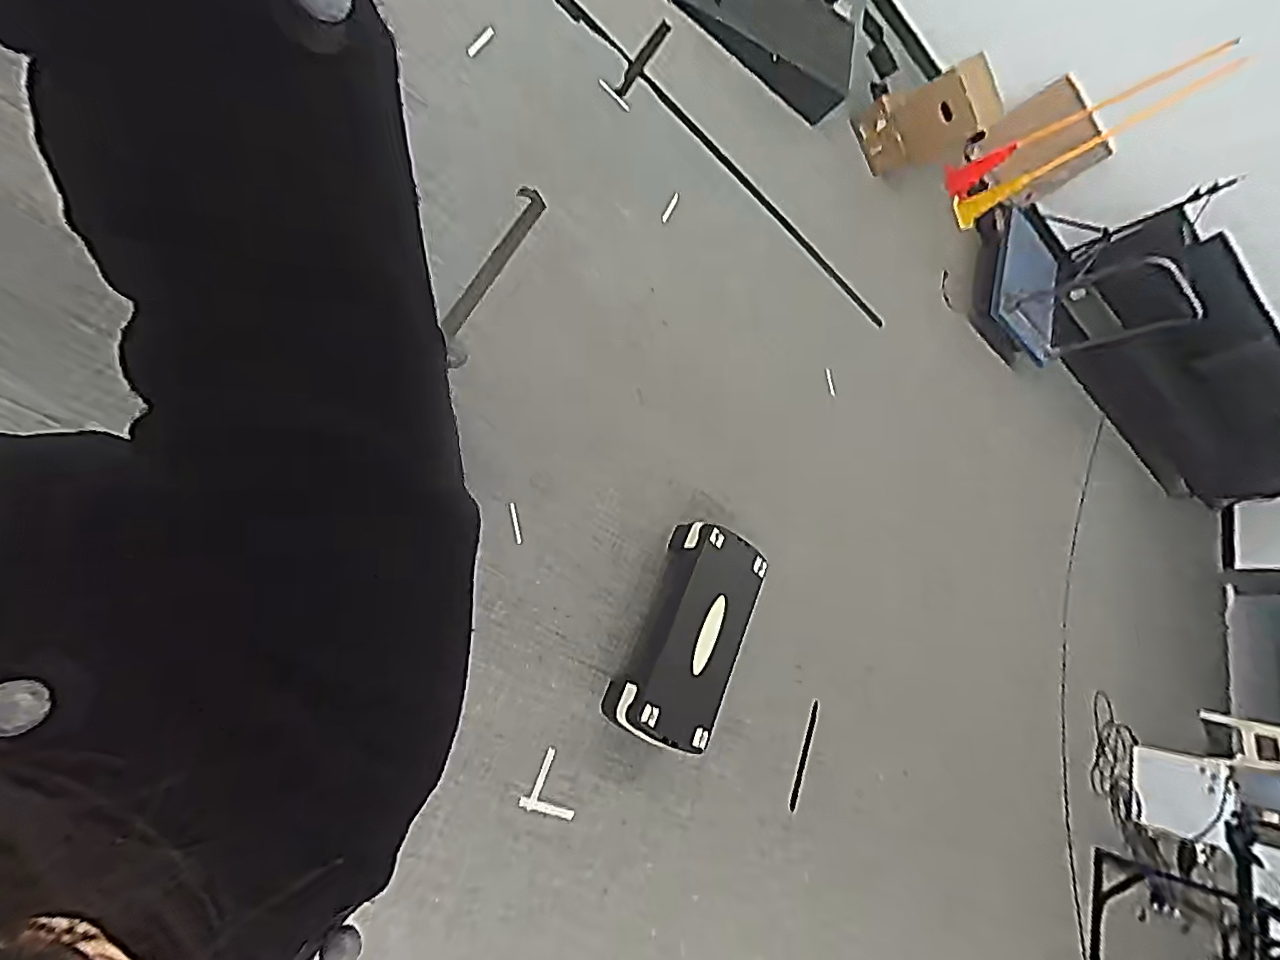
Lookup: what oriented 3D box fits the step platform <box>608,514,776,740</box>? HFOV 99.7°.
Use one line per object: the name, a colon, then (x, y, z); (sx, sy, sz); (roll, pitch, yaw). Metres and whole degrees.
step platform: (0.188, 0.445, 1.720); (0.286, 0.204, 0.684); (39, 63, -20)
